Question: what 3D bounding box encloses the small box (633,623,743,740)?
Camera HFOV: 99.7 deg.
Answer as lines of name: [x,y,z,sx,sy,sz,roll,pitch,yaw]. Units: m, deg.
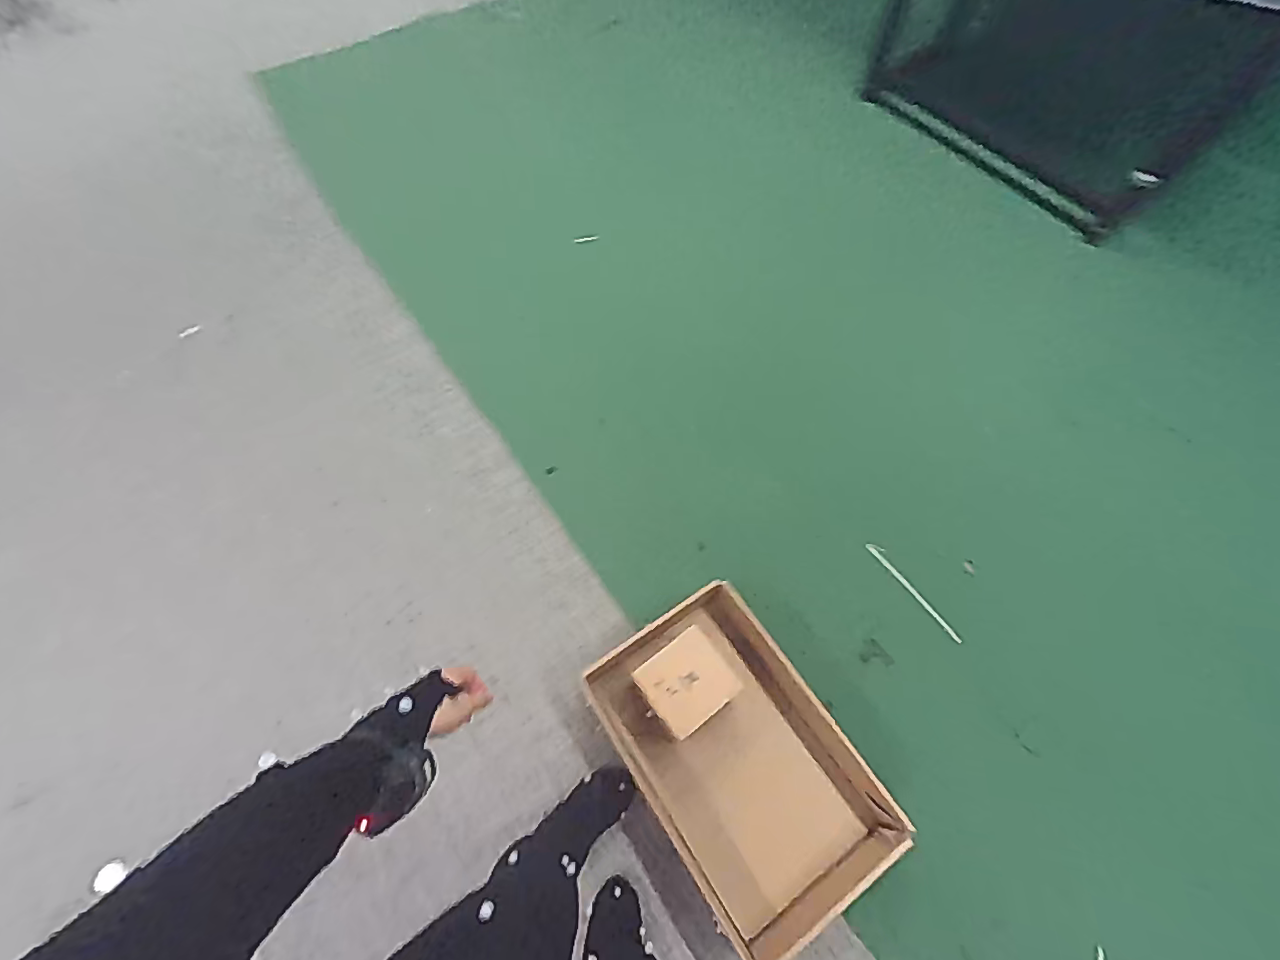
small box: [0.097,0.444,1.188,0.179,0.176,0.168,-33,69,-16]
